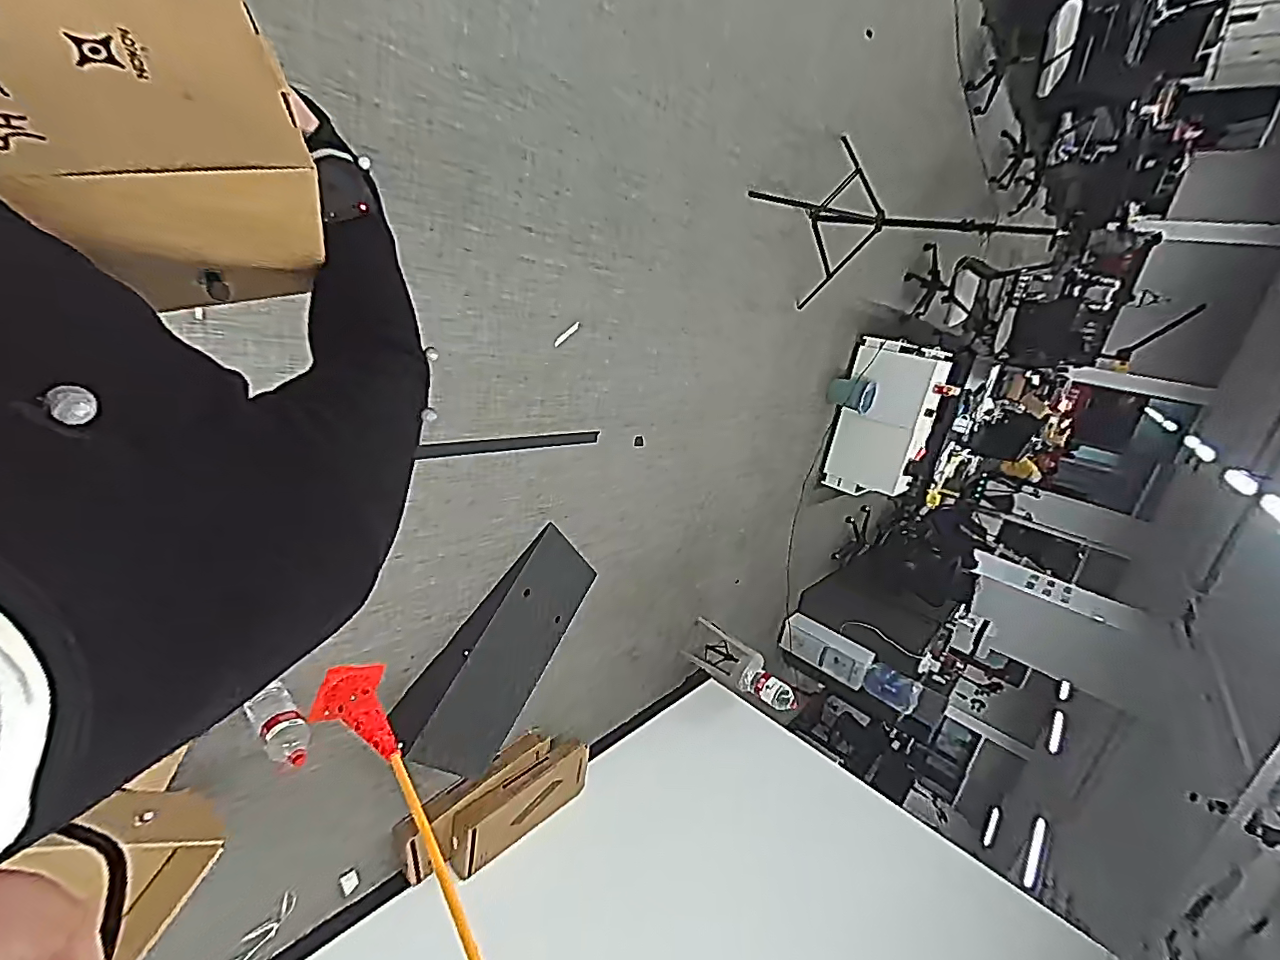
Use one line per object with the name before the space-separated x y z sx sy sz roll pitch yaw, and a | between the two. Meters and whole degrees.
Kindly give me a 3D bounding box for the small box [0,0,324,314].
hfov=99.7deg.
small box | -0.372 -0.254 0.427 0.179 0.176 0.168 -22 87 -30
